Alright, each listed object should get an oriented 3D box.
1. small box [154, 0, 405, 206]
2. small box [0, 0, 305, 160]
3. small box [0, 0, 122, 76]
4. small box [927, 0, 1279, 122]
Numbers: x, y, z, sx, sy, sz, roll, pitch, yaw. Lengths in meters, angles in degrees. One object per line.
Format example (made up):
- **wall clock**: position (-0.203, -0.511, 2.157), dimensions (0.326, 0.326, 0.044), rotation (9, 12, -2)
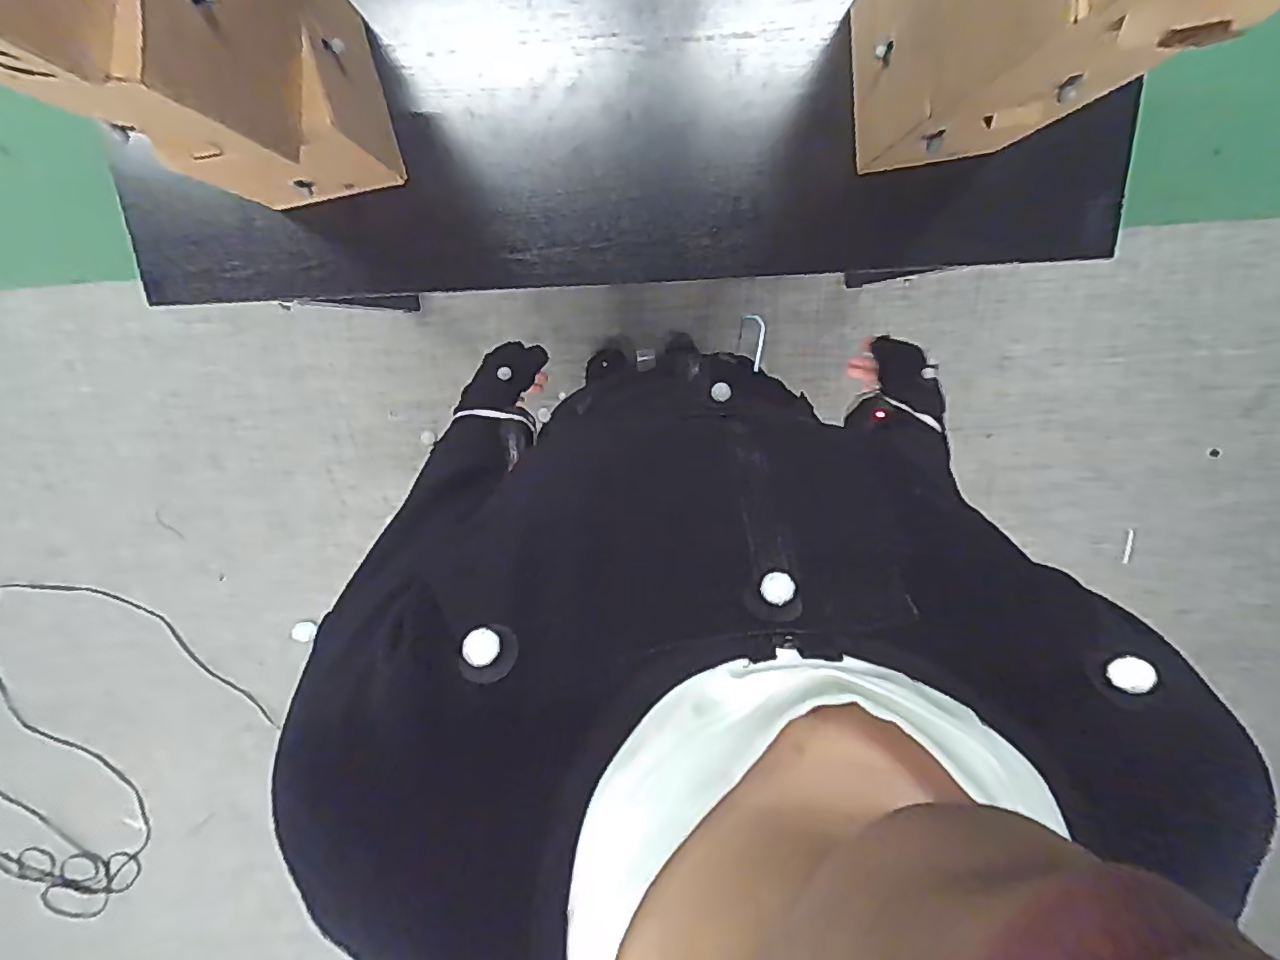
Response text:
- **small box**: position (-0.368, -0.401, 0.545), dimensions (0.168, 0.176, 0.179), rotation (-11, 106, 1)
- **small box**: position (-0.368, -0.357, 0.386), dimensions (0.168, 0.176, 0.179), rotation (9, 105, -4)
- **small box**: position (-0.366, -0.320, 0.226), dimensions (0.168, 0.176, 0.179), rotation (19, 105, -8)
- **small box**: position (0.327, -0.397, 0.387), dimensions (0.168, 0.176, 0.179), rotation (-10, 105, 2)
